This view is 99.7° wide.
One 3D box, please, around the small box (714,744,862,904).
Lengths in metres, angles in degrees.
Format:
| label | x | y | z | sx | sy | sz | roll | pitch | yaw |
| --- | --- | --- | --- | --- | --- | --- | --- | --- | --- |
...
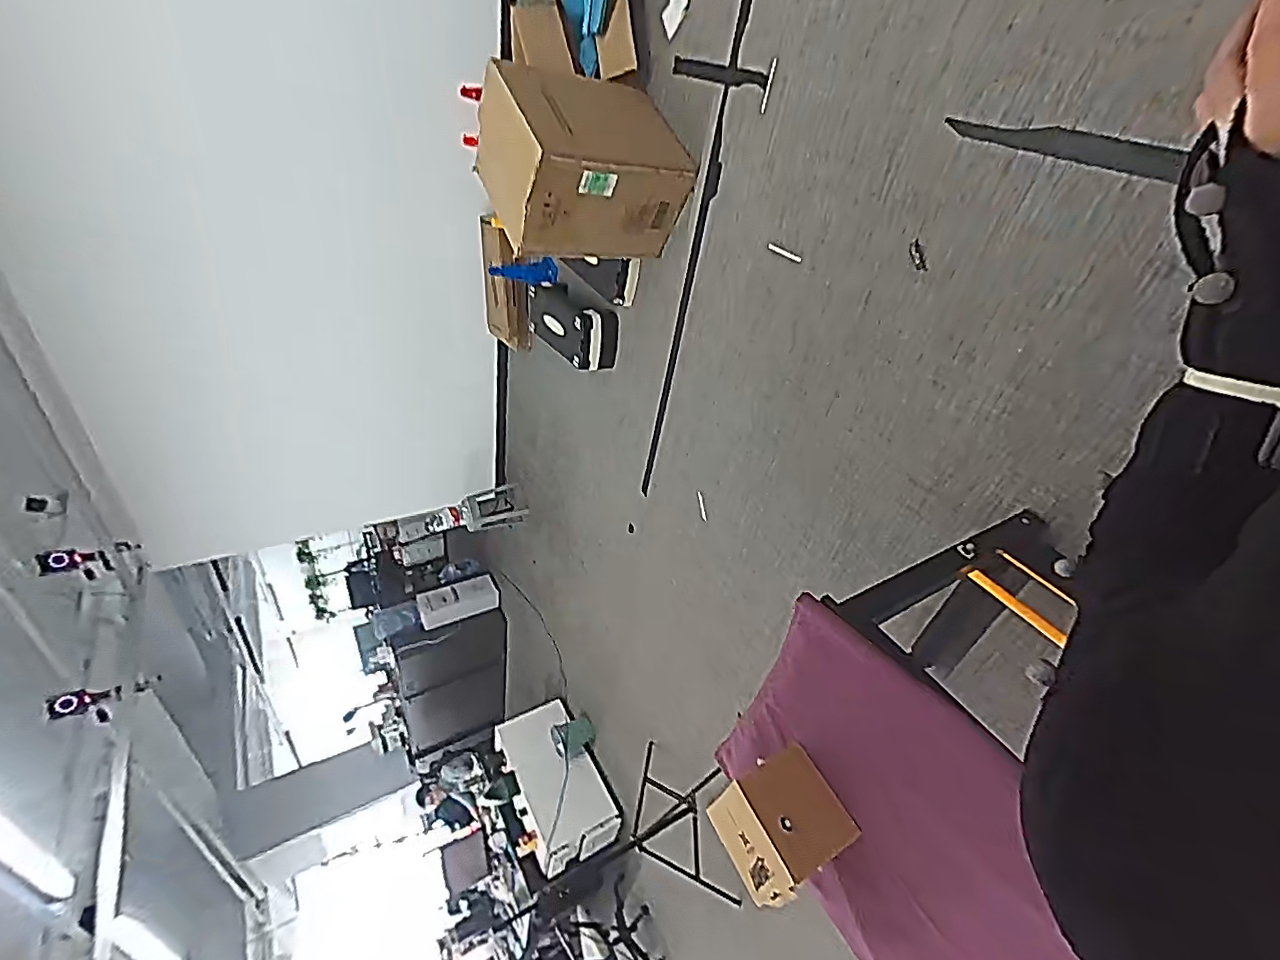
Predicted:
| label | x | y | z | sx | sy | sz | roll | pitch | yaw |
| --- | --- | --- | --- | --- | --- | --- | --- | --- | --- |
| small box | 0.273 | 0.635 | 1.008 | 0.179 | 0.176 | 0.168 | 54 | 142 | 35 |
